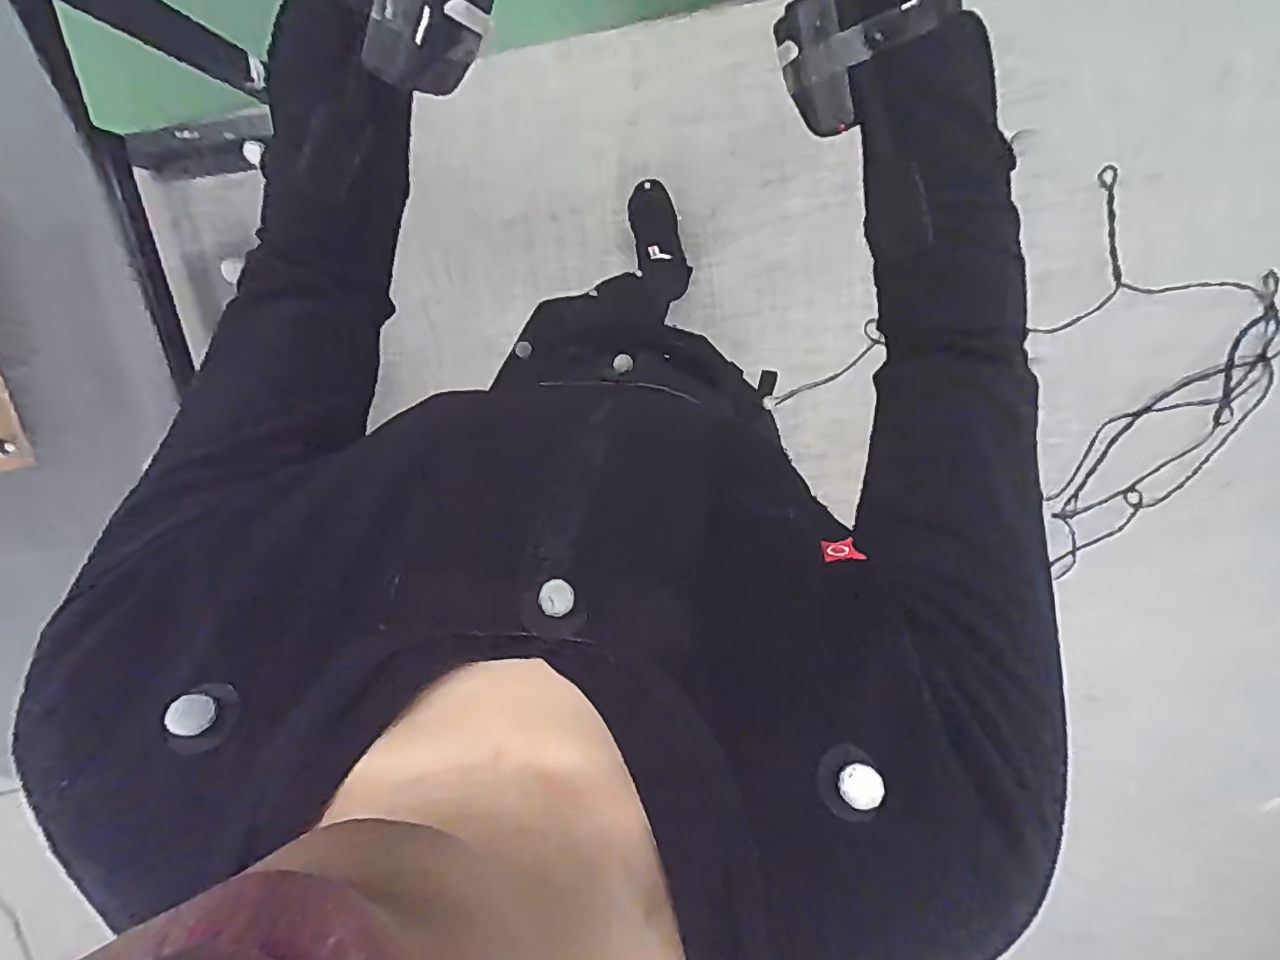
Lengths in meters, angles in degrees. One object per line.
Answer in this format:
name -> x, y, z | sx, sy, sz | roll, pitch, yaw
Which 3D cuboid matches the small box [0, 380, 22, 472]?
small box -> -0.972, -0.072, 0.694 | 0.179, 0.176, 0.168 | -3, 106, 7
